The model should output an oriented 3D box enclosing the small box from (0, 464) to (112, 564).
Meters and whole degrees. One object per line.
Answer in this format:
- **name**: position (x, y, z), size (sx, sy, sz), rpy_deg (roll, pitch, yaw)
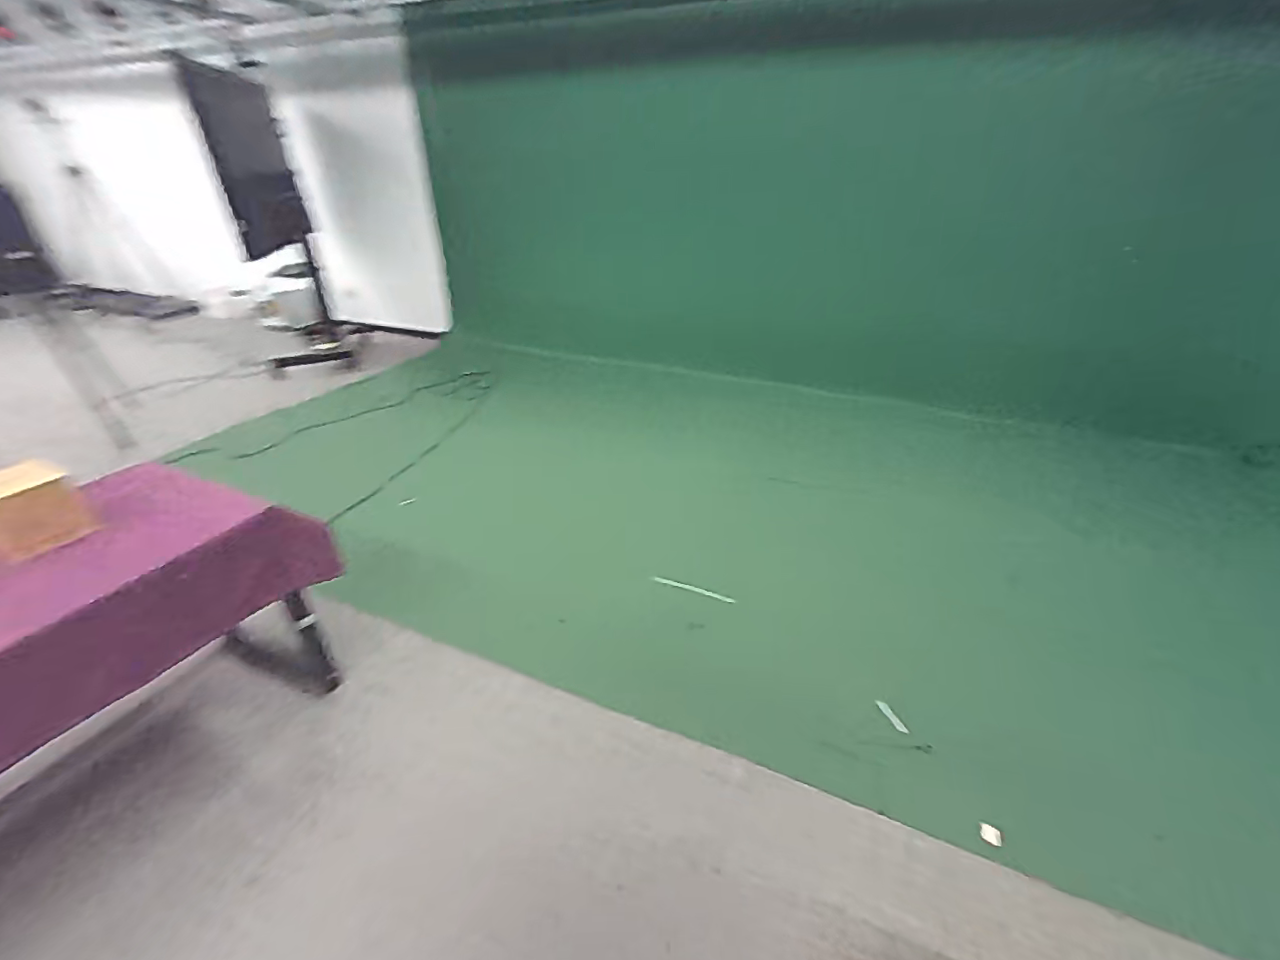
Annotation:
- **small box**: position (-1.485, 0.085, 1.348), size (0.179, 0.176, 0.168), rpy_deg (14, 34, 25)
